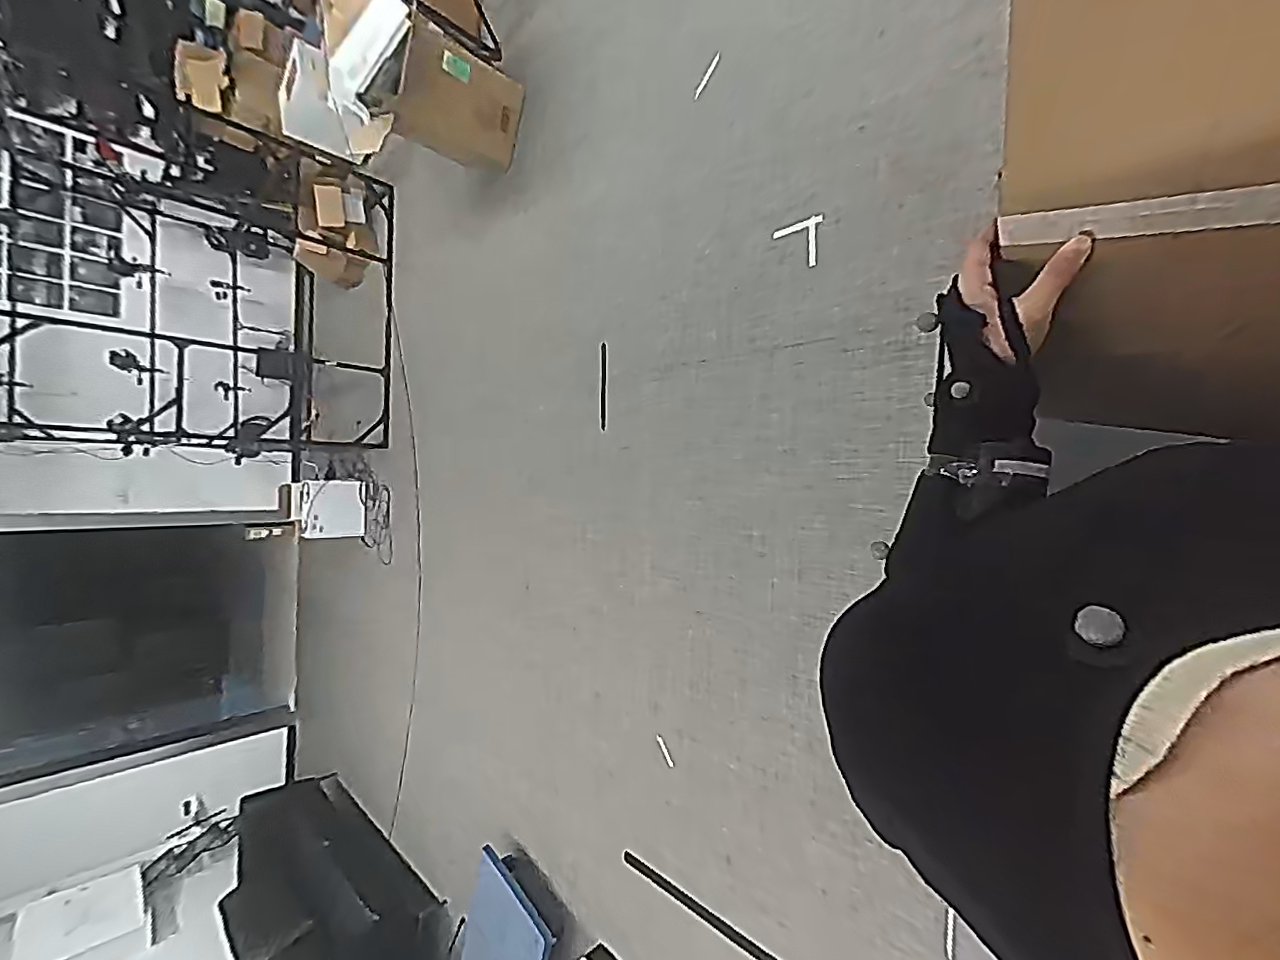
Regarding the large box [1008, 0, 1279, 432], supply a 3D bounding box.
[{"bbox_3d":[0.501,-0.232,0.324,0.408,0.320,0.320,16,139,46],"label":"large box"}]
